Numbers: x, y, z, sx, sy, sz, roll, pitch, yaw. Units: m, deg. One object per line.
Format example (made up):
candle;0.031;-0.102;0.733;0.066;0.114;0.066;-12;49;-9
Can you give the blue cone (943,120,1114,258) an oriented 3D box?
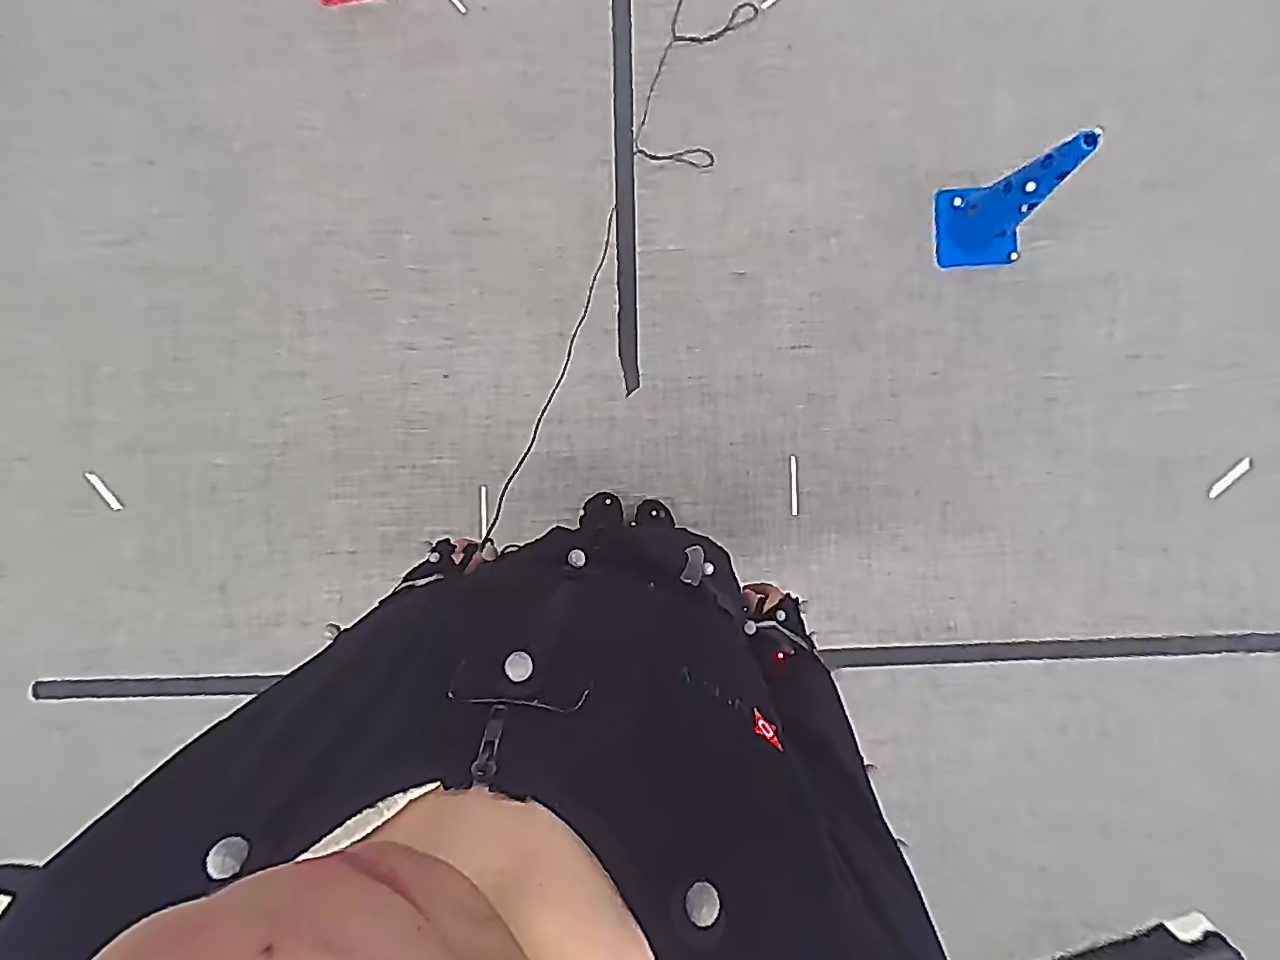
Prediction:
blue cone;0.851;-0.649;1.185;0.192;0.380;0.193;-1;90;0
